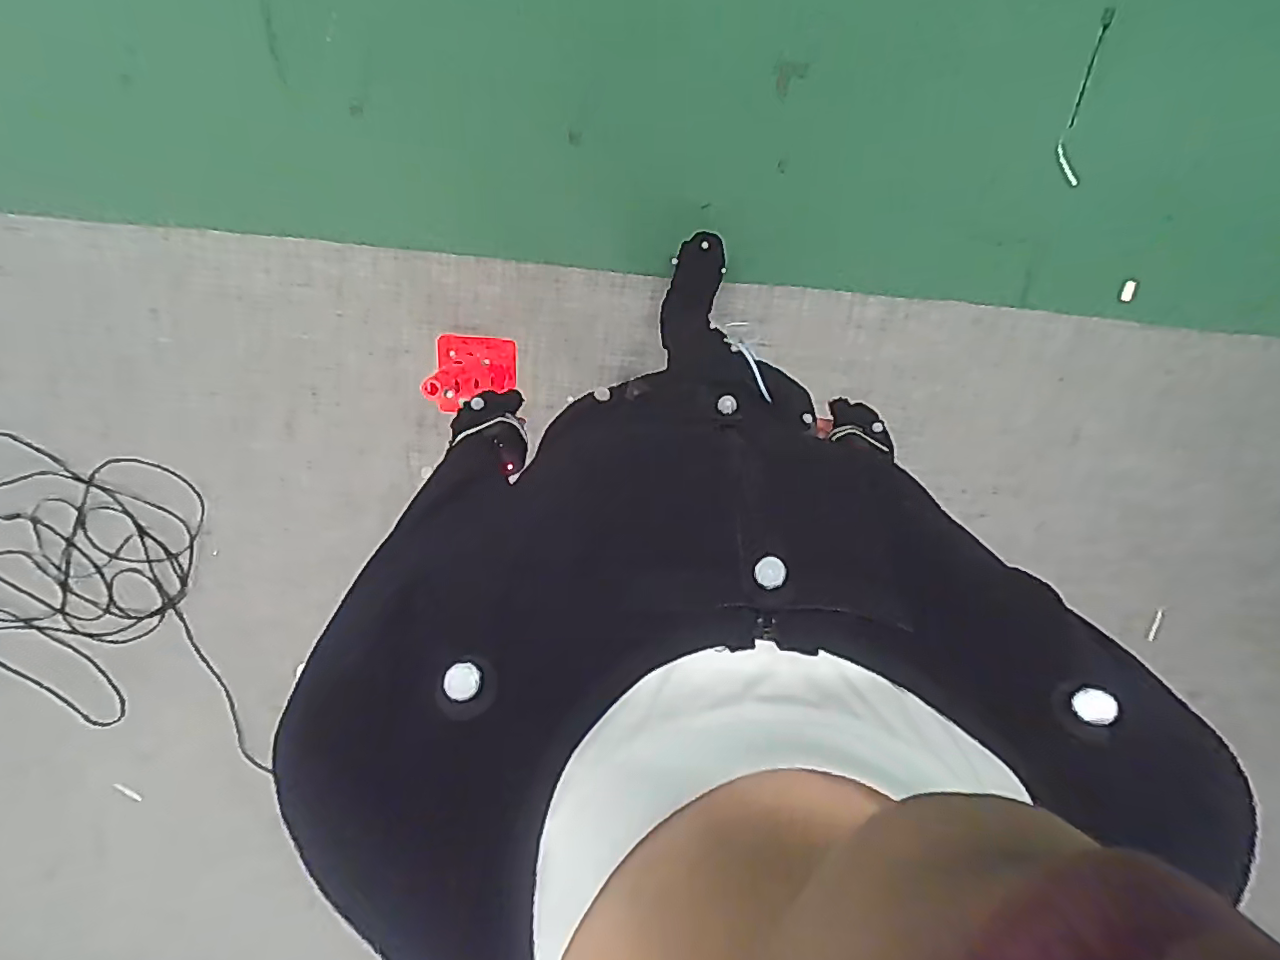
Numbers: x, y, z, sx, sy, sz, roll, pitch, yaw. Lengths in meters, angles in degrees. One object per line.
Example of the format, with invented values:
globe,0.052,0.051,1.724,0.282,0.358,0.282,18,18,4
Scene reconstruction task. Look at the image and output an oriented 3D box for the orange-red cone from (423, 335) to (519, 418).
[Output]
orange-red cone,-0.409,-0.218,1.226,0.198,0.360,0.199,5,106,-2
